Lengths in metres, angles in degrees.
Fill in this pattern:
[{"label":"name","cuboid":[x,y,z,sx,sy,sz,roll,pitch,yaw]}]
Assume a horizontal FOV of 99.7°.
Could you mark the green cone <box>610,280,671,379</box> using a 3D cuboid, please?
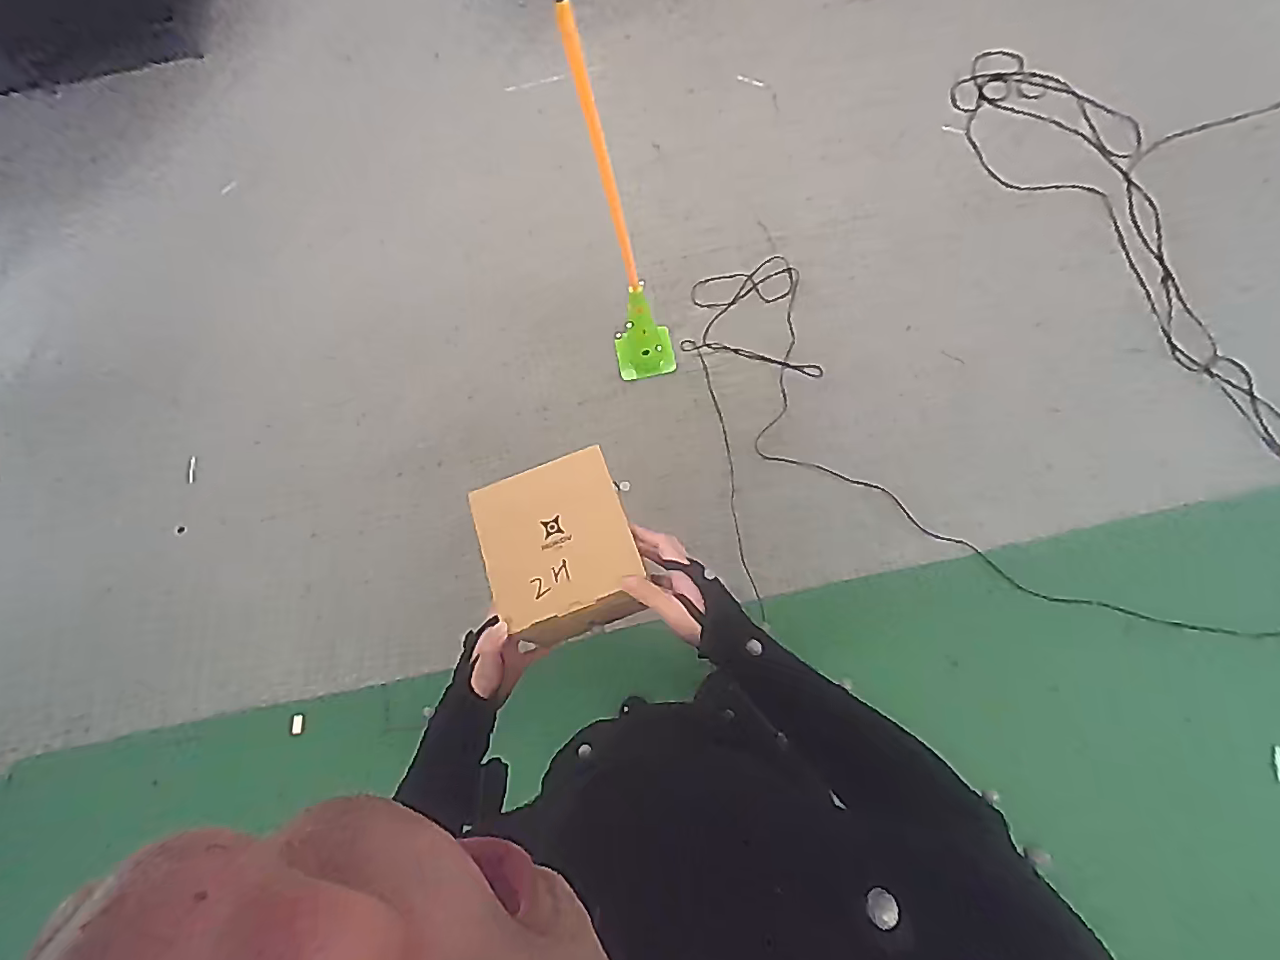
[{"label":"green cone","cuboid":[-0.010,-0.517,1.779,0.202,0.368,0.200,-11,70,-1]}]
